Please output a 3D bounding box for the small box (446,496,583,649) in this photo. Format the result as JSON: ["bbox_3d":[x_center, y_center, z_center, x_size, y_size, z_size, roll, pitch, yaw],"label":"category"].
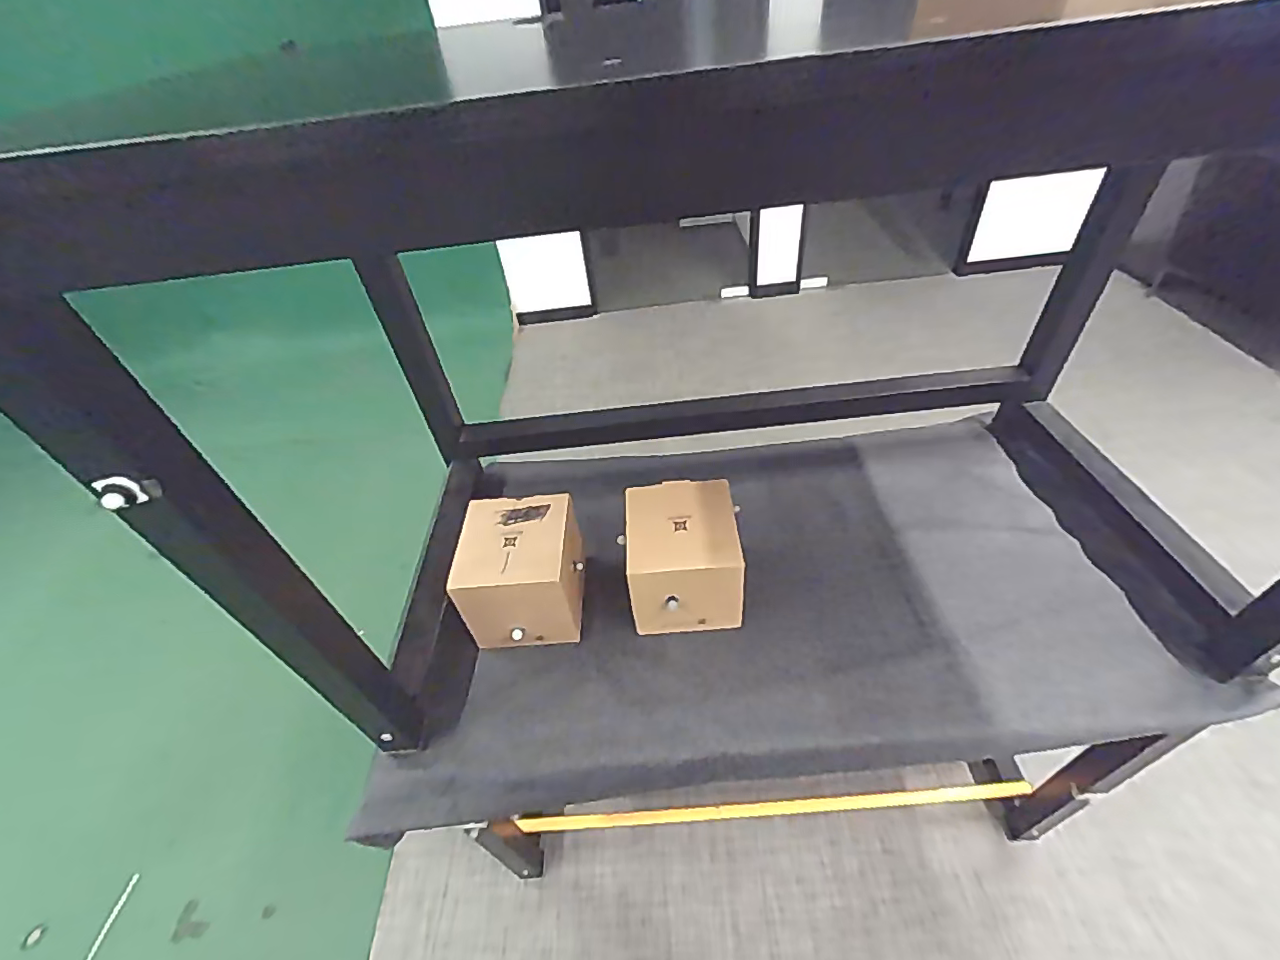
[{"bbox_3d":[-0.189,0.149,0.873,0.168,0.176,0.179,-5,44,3],"label":"small box"}]

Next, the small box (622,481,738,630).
[{"bbox_3d":[0.063,0.127,0.865,0.168,0.176,0.179,-5,43,2],"label":"small box"}]
